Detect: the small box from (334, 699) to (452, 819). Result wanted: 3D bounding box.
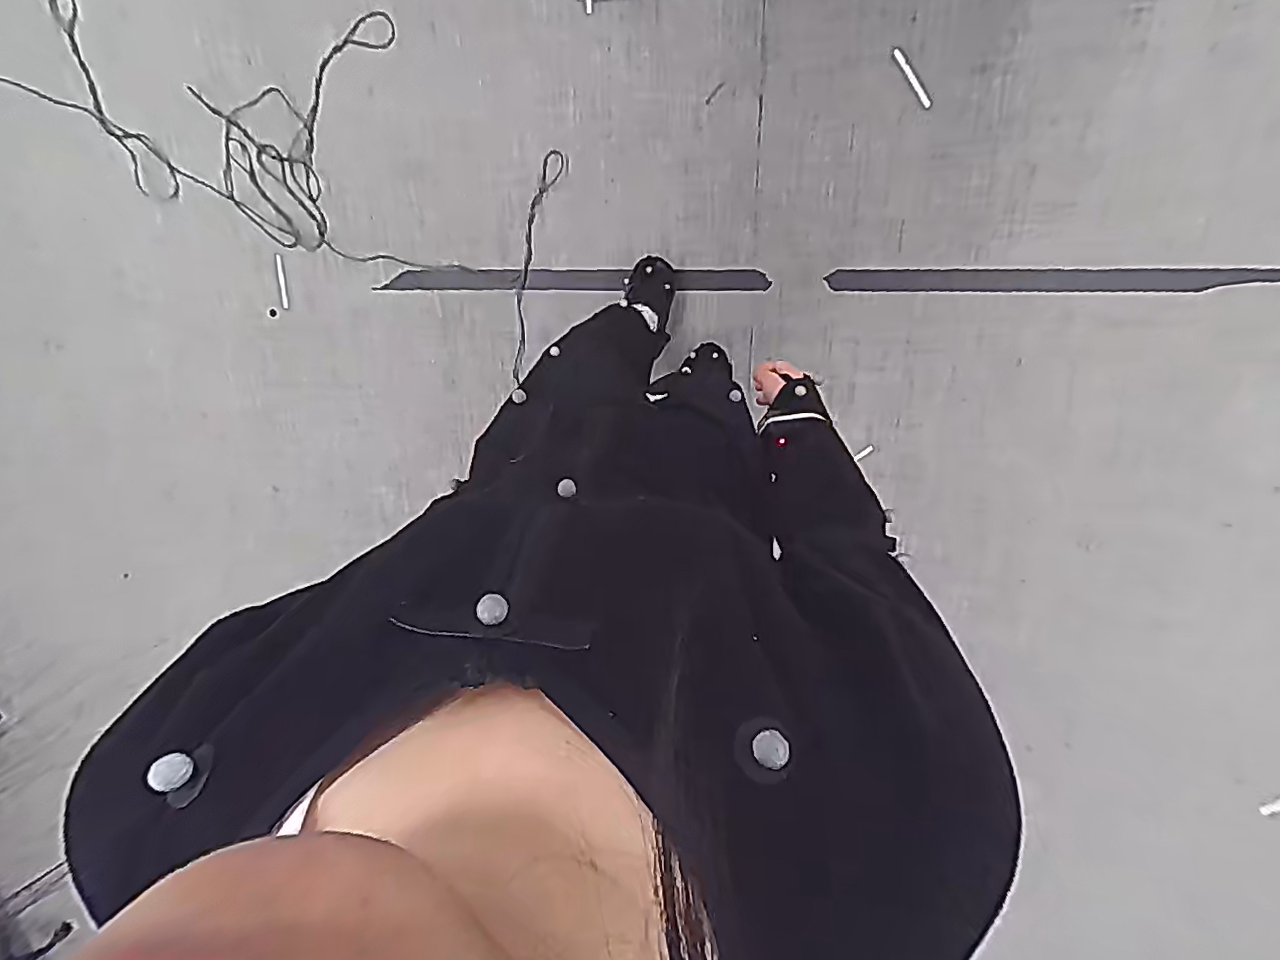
[{"bbox_3d":[-0.614,0.697,1.368,0.168,0.176,0.179,-39,96,14],"label":"small box"}]
